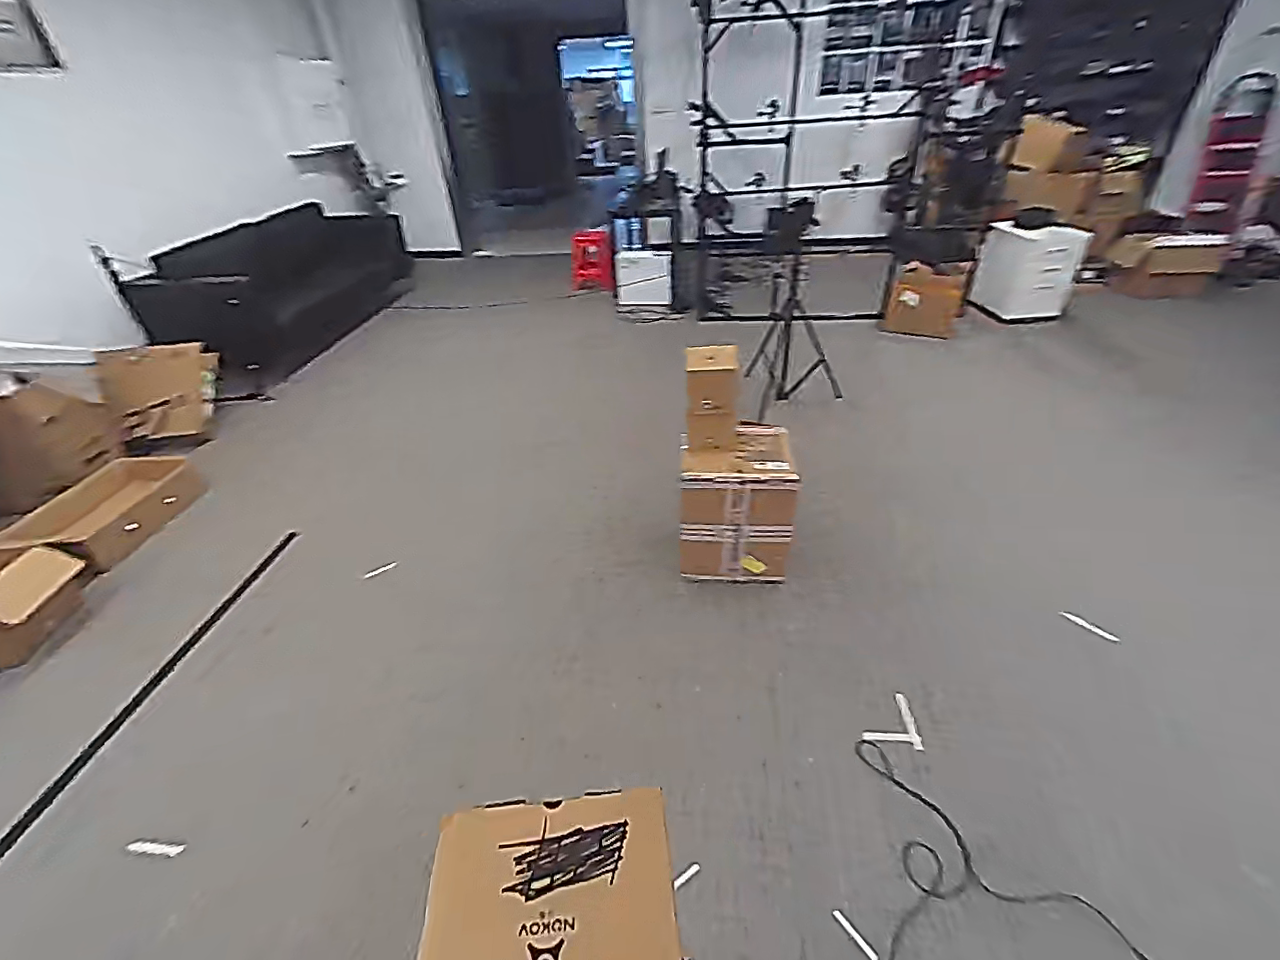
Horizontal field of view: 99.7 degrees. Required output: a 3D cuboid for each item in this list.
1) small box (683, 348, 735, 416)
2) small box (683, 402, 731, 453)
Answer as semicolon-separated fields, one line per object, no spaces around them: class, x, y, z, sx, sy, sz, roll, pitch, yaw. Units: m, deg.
small box;0.230;-0.329;1.817;0.168;0.176;0.179;-2;39;6
small box;0.238;-0.213;1.933;0.168;0.176;0.179;-1;38;7
